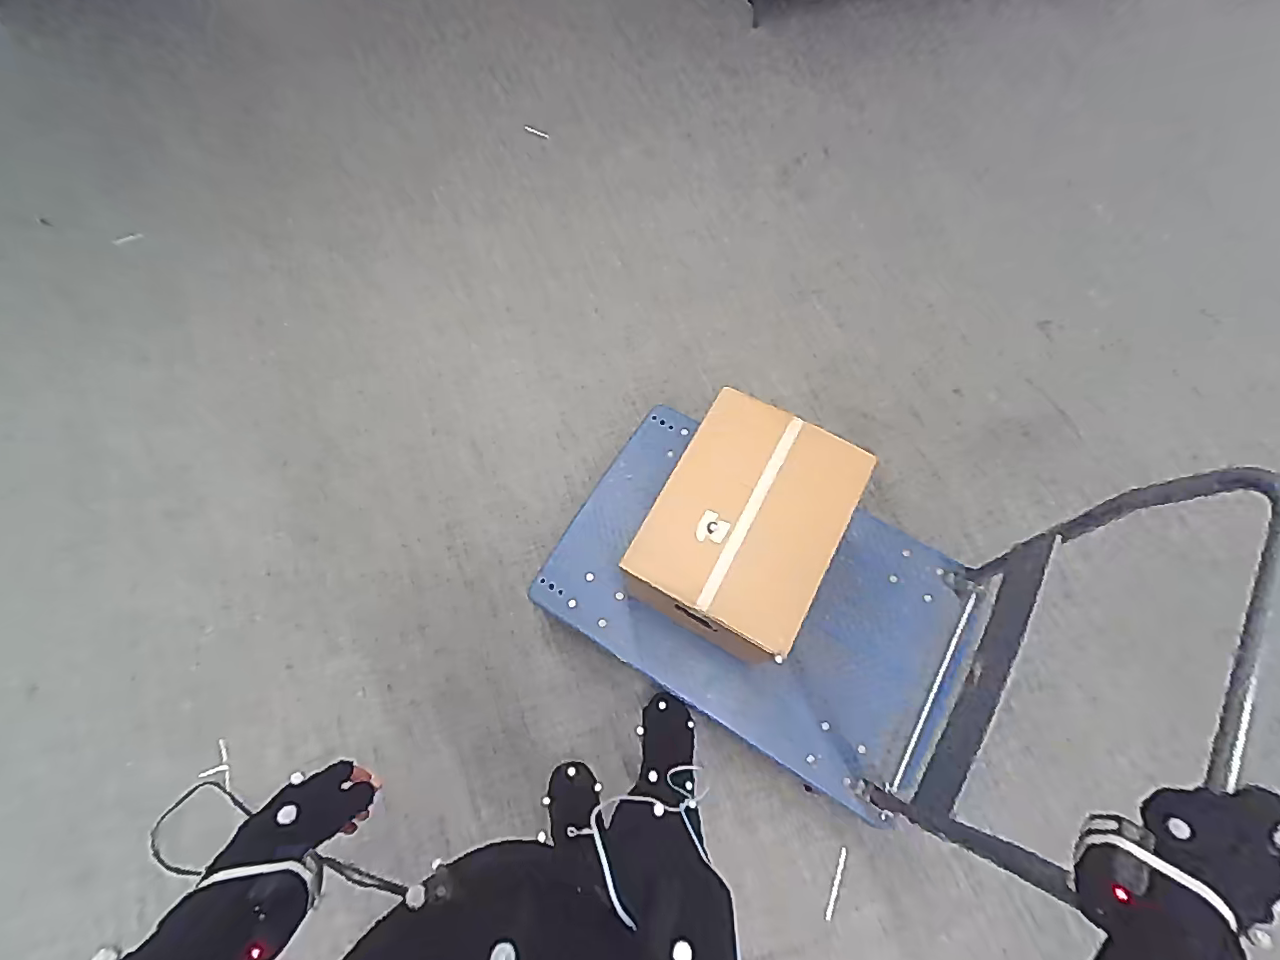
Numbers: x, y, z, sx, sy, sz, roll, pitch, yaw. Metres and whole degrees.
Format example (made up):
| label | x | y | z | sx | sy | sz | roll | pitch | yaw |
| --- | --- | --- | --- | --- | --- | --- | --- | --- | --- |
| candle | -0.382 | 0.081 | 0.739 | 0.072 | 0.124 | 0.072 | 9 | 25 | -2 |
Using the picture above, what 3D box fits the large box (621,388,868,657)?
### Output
| label | x | y | z | sx | sy | sz | roll | pitch | yaw |
| --- | --- | --- | --- | --- | --- | --- | --- | --- | --- |
| large box | 0.196 | 0.100 | 1.095 | 0.320 | 0.320 | 0.408 | 27 | 74 | 12 |
